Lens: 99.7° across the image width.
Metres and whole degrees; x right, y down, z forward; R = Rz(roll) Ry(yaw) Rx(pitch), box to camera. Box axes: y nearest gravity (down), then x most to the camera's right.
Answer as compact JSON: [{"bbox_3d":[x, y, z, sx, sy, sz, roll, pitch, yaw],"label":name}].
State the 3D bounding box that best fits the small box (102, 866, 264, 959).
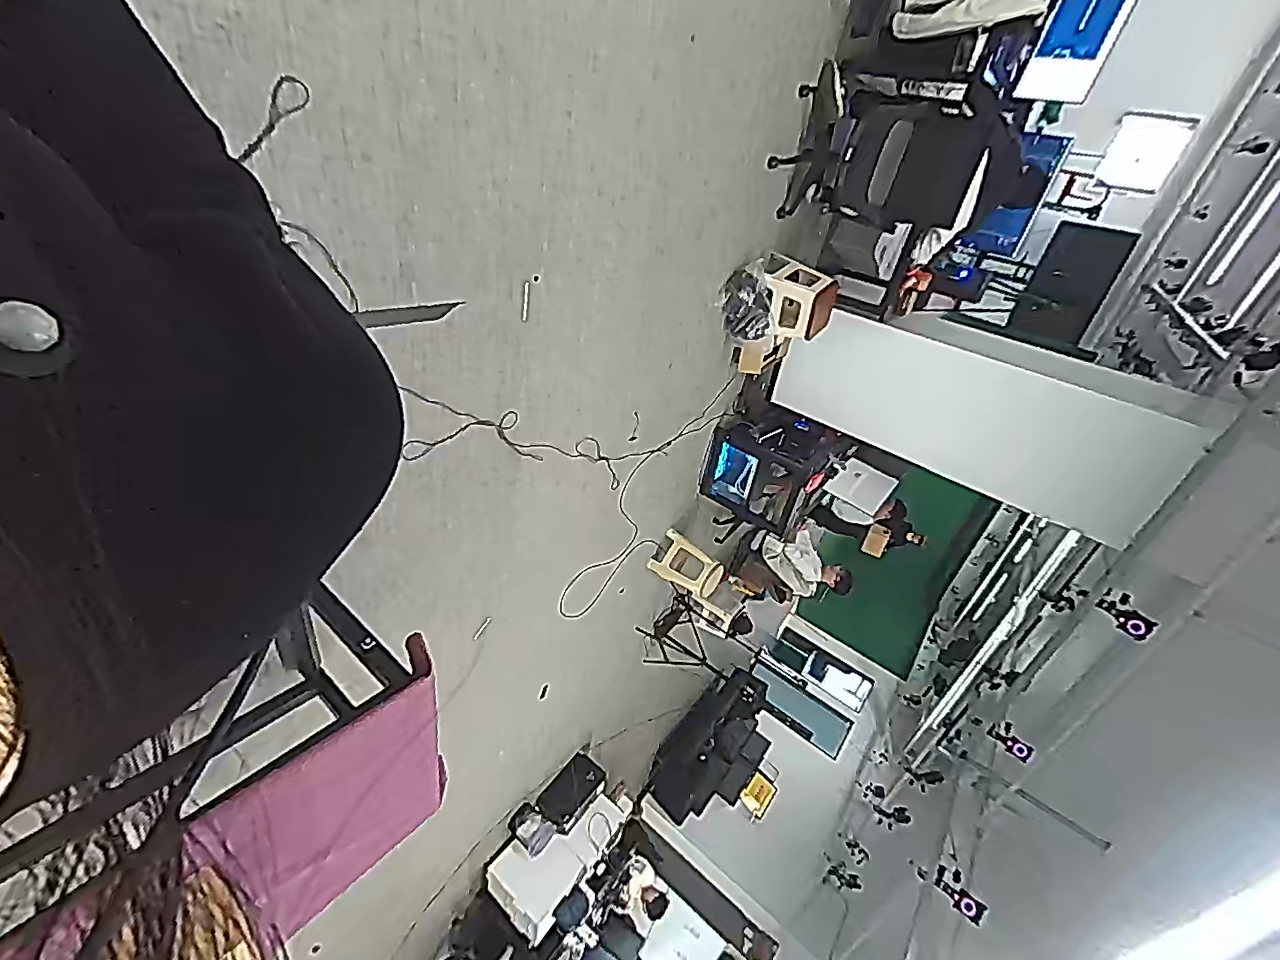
[{"bbox_3d":[-0.805,0.846,0.963,0.168,0.176,0.179,-28,140,-49],"label":"small box"}]
